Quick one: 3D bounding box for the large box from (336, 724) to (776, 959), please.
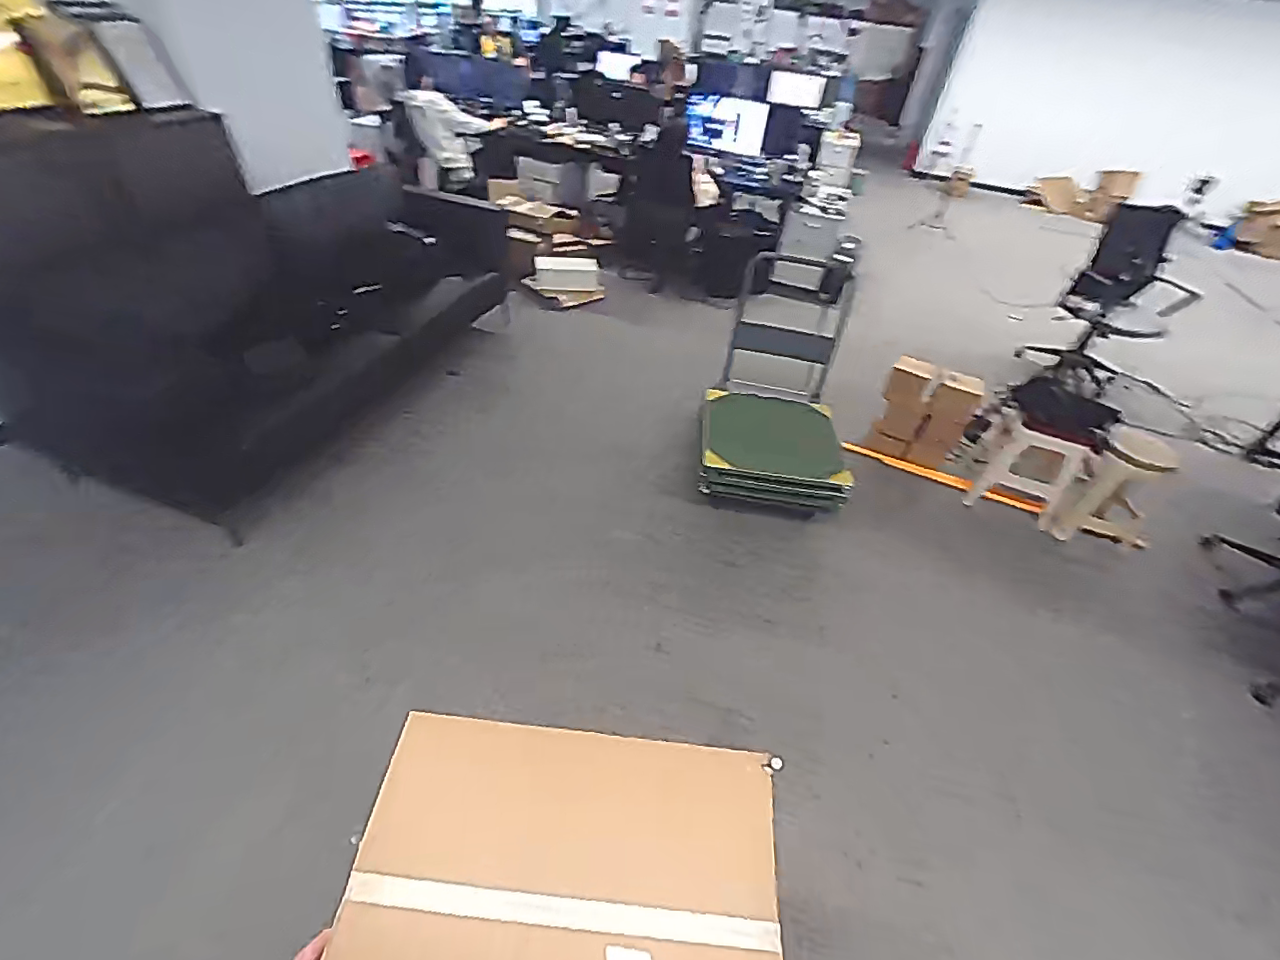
[{"bbox_3d":[-0.081,0.502,0.623,0.408,0.320,0.320,5,51,0],"label":"large box"}]
